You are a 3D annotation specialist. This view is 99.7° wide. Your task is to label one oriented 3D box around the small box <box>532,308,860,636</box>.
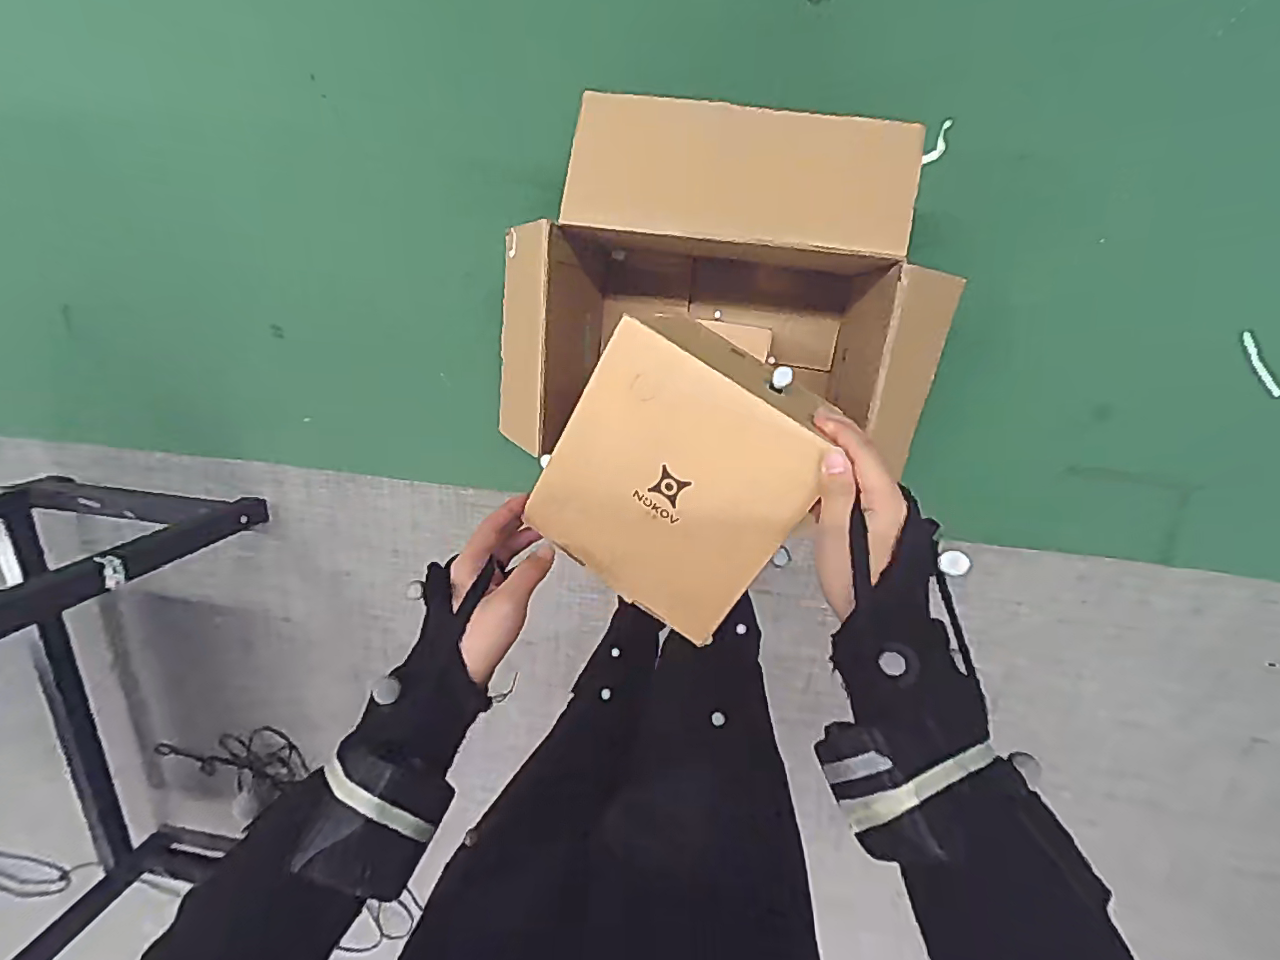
[{"bbox_3d":[0.048,-0.021,0.436,0.168,0.176,0.179,34,114,6],"label":"small box"}]
